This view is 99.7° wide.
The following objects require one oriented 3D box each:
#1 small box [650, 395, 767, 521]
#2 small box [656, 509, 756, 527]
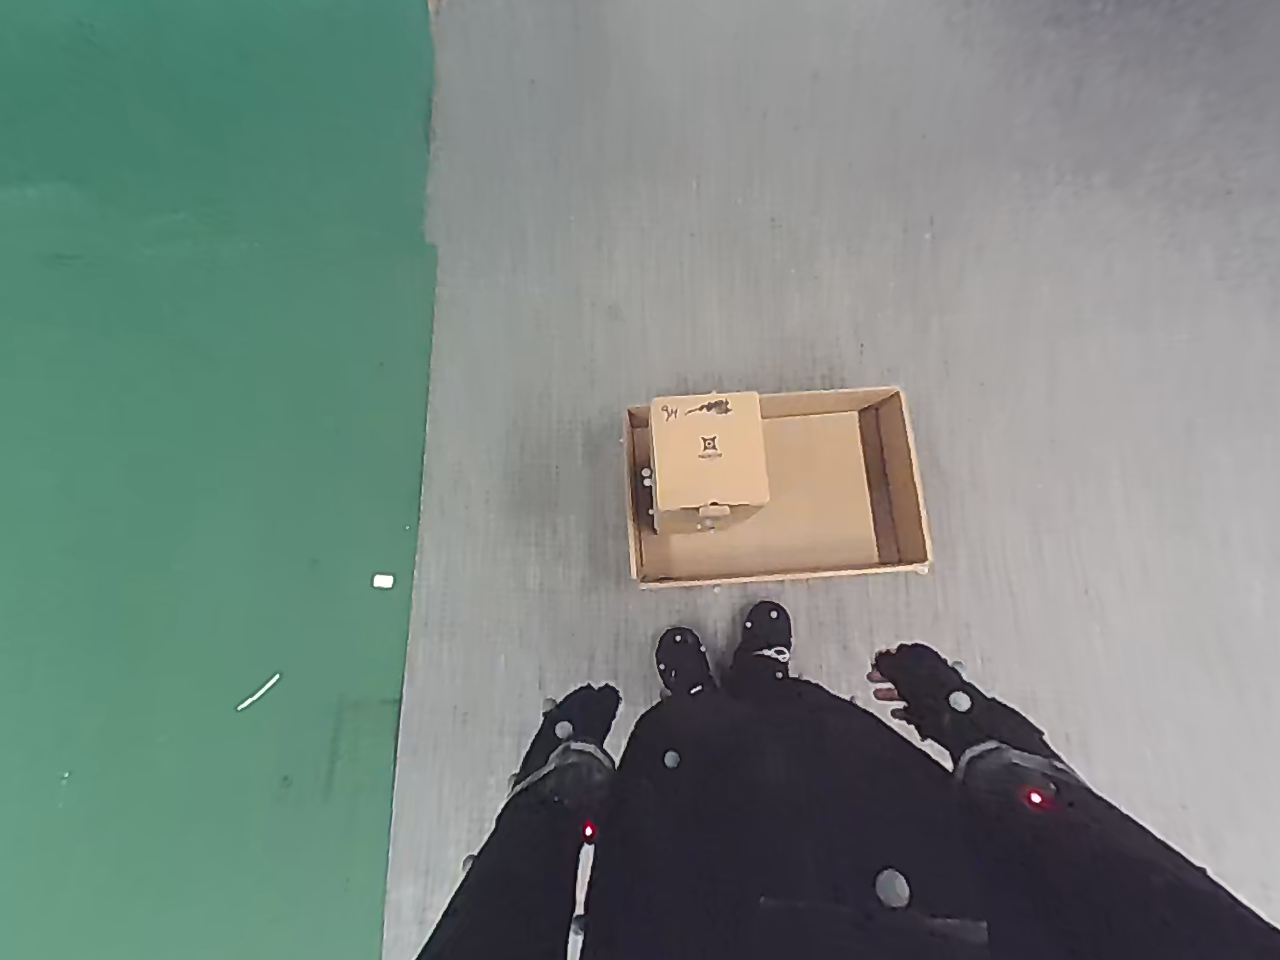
[{"bbox_3d":[0.105,-0.026,0.886,0.168,0.176,0.179,-4,79,1],"label":"small box"},{"bbox_3d":[0.117,-0.001,1.047,0.179,0.176,0.168,-4,79,2],"label":"small box"}]
